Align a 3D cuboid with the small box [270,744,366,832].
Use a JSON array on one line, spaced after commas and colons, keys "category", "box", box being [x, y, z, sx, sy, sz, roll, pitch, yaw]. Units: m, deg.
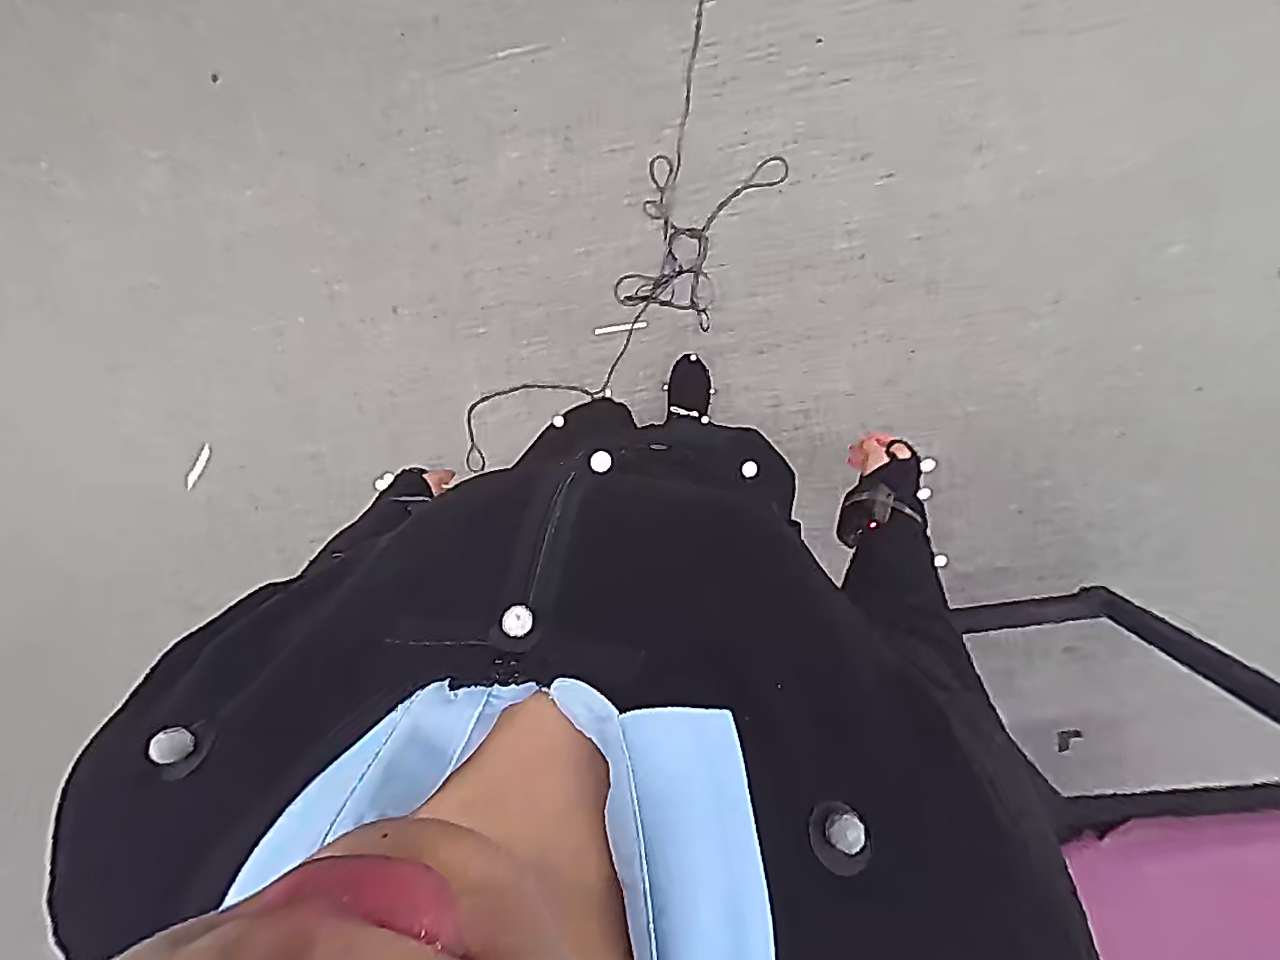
[{"category": "small box", "box": [-0.972, 0.936, 1.657, 0.179, 0.176, 0.168, -9, 102, 6]}]
